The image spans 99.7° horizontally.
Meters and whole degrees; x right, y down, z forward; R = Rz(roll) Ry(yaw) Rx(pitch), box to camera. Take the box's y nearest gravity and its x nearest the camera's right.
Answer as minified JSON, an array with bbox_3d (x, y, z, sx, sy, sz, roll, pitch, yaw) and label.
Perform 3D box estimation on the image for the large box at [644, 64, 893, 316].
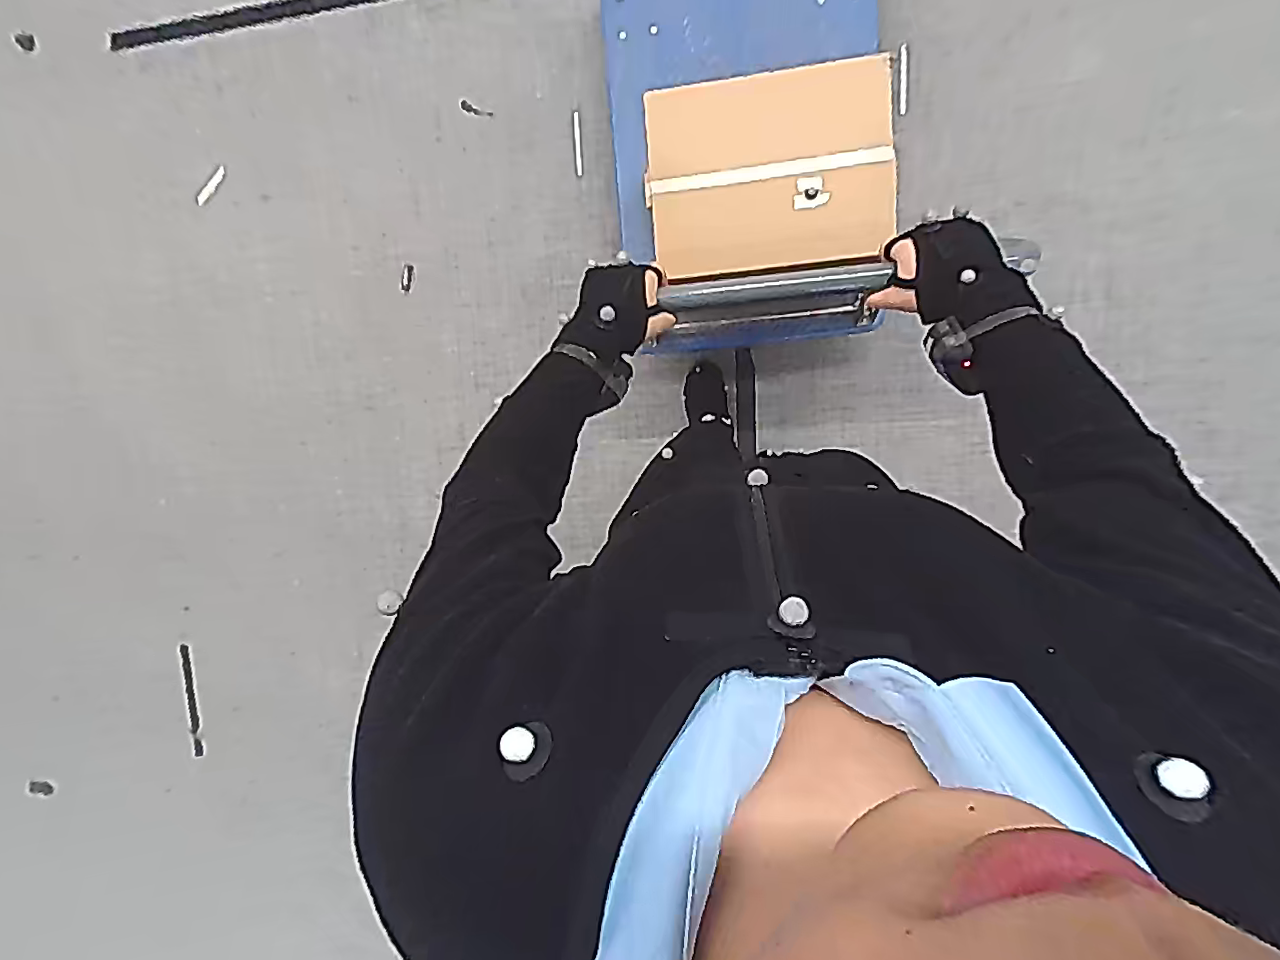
[{"bbox_3d":[0.231,-0.526,1.063,0.408,0.320,0.320,-4,98,7],"label":"large box"}]
